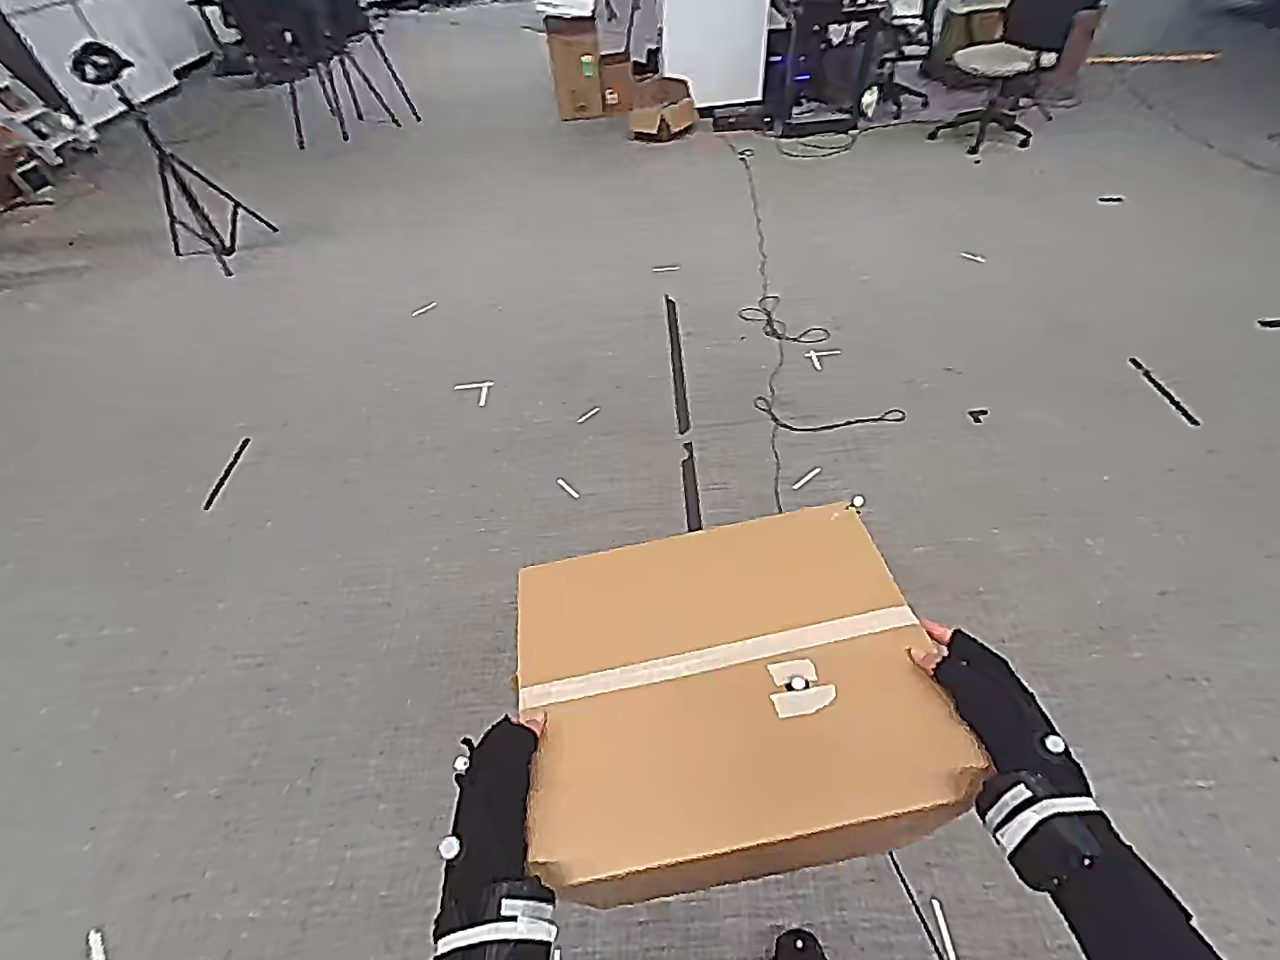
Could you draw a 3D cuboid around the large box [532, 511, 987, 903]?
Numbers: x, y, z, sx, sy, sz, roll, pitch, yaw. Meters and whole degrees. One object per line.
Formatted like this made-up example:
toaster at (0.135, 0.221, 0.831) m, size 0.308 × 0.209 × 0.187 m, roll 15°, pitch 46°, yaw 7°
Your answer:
large box at (0.104, 0.286, 0.673) m, size 0.408 × 0.320 × 0.320 m, roll -11°, pitch 49°, yaw -1°
